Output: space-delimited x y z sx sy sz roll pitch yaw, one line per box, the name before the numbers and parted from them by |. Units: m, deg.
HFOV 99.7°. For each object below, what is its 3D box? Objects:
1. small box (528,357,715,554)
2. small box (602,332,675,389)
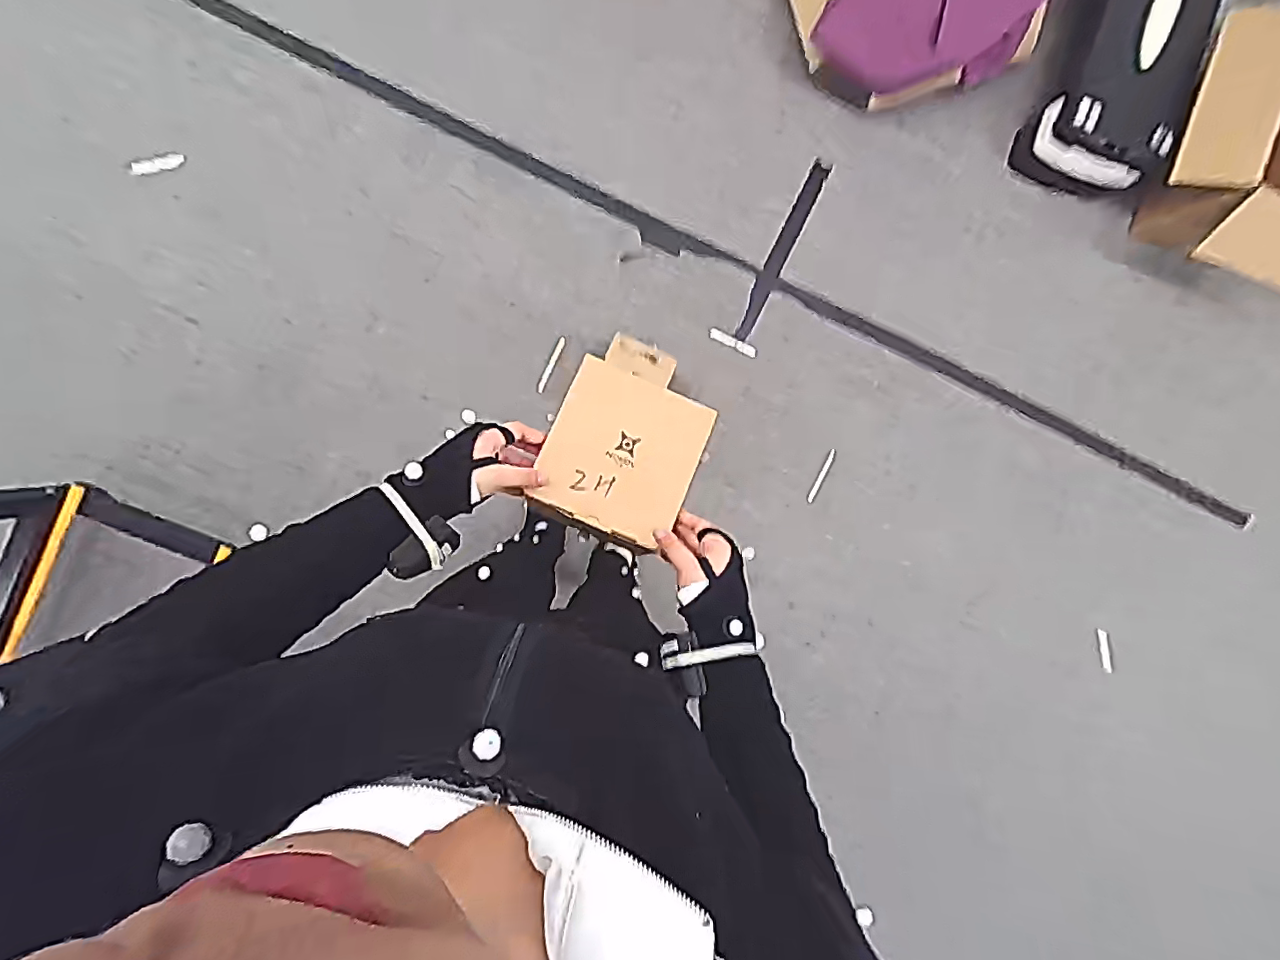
small box | -0.029 -0.018 0.679 0.168 0.176 0.179 23 77 -3
small box | -0.025 -0.248 1.373 0.168 0.176 0.179 24 93 -5
